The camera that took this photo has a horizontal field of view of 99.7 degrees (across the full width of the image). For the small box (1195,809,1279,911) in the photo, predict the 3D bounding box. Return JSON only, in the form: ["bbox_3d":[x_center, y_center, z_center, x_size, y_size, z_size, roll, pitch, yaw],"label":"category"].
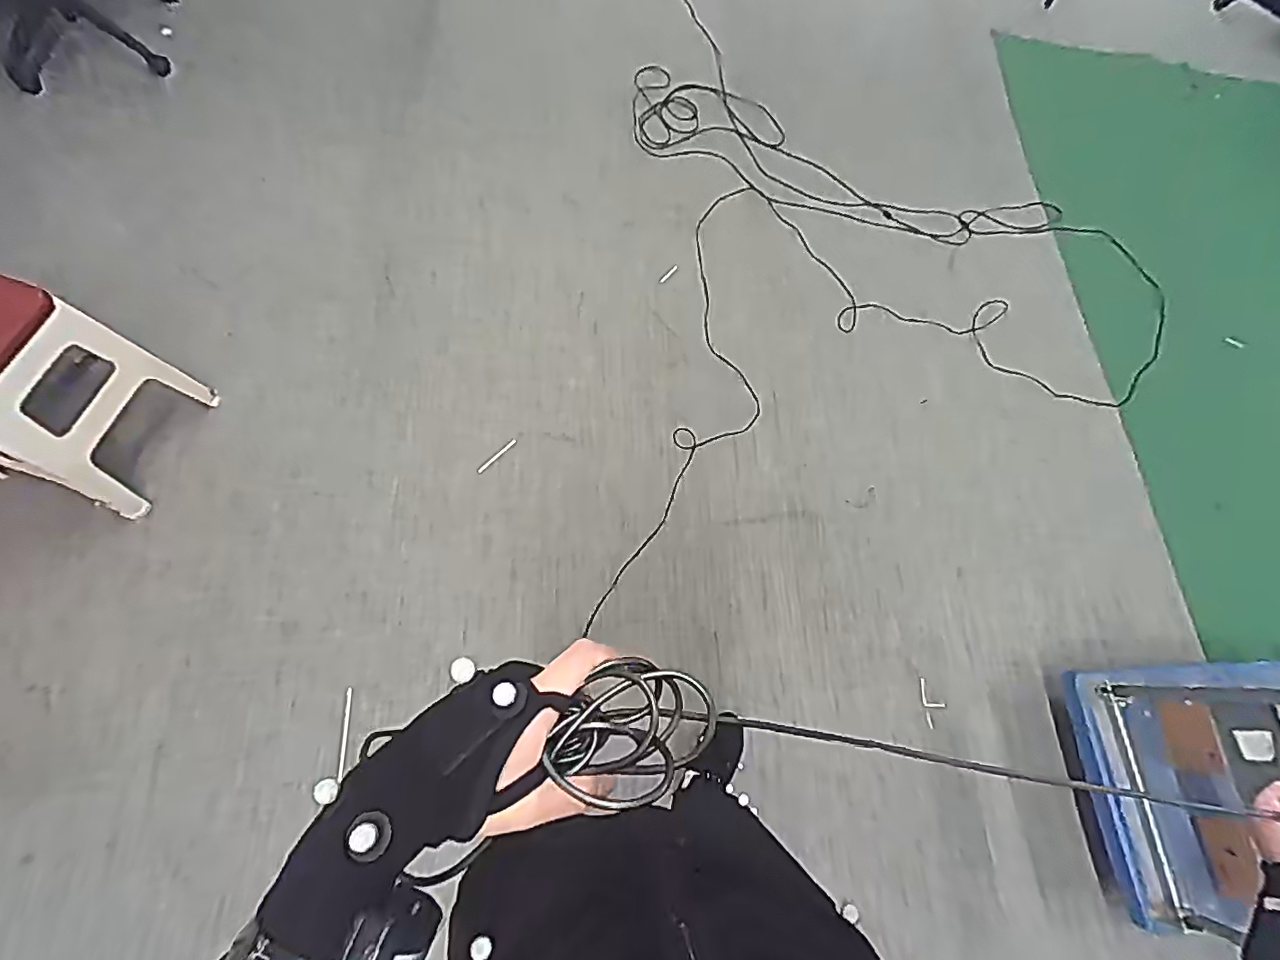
[{"bbox_3d":[1.470,0.878,1.254,0.179,0.176,0.168,1,71,-7],"label":"small box"}]

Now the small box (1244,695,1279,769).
[{"bbox_3d":[1.711,0.644,1.372,0.179,0.176,0.168,-3,72,-9],"label":"small box"}]
